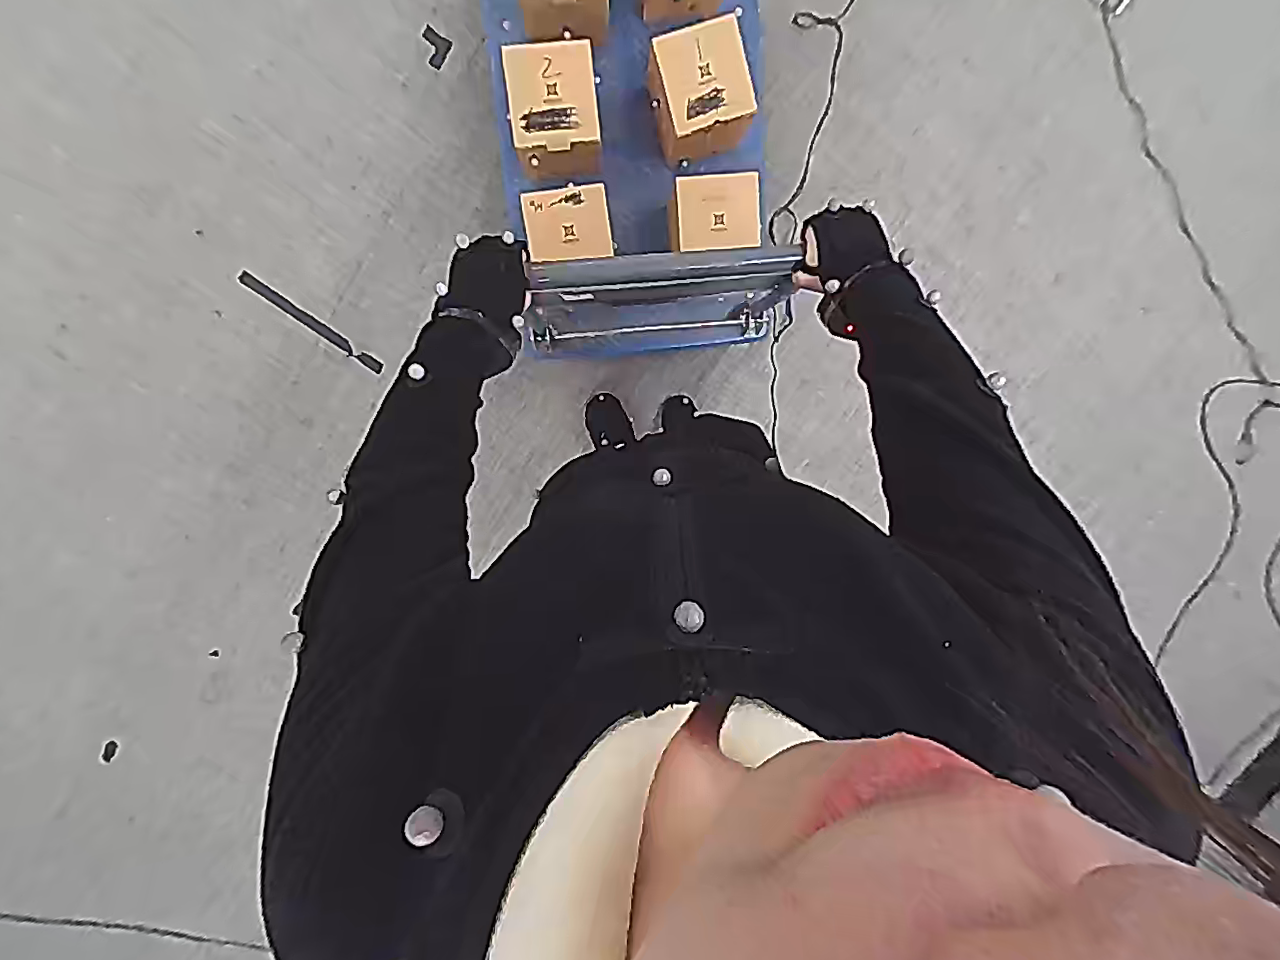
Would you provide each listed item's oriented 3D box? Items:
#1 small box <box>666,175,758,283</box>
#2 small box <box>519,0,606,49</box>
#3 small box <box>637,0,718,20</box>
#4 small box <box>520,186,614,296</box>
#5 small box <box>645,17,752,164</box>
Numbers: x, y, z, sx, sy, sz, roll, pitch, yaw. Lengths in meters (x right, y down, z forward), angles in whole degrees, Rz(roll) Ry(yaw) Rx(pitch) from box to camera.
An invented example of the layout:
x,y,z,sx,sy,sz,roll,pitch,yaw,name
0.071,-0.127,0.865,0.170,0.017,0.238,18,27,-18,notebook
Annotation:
x,y,z,sx,sy,sz,roll,pitch,yaw,name
0.149,-0.526,1.155,0.168,0.176,0.179,-5,100,-3,small box
-0.154,-0.982,1.046,0.168,0.176,0.179,-4,102,-3,small box
0.073,-1.041,1.052,0.168,0.176,0.179,-9,101,-2,small box
-0.147,-0.492,1.141,0.168,0.176,0.179,-9,102,-3,small box
0.113,-0.776,1.104,0.168,0.176,0.179,-17,100,0,small box
